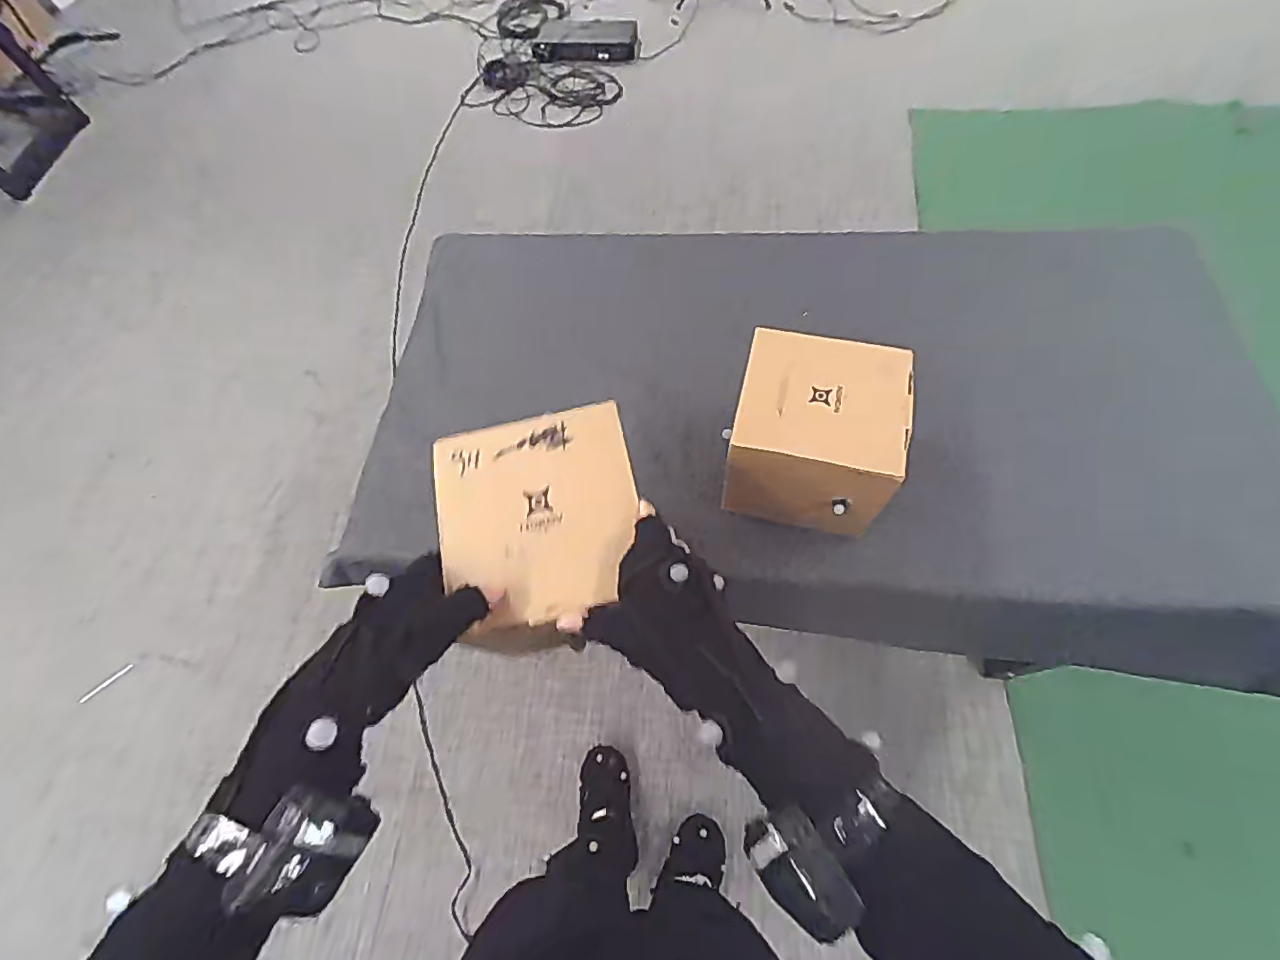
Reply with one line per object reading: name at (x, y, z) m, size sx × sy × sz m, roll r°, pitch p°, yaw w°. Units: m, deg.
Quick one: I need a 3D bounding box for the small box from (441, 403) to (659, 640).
small box at (-0.077, 0.053, 0.525) m, size 0.168 × 0.176 × 0.179 m, roll -11°, pitch 69°, yaw -1°
